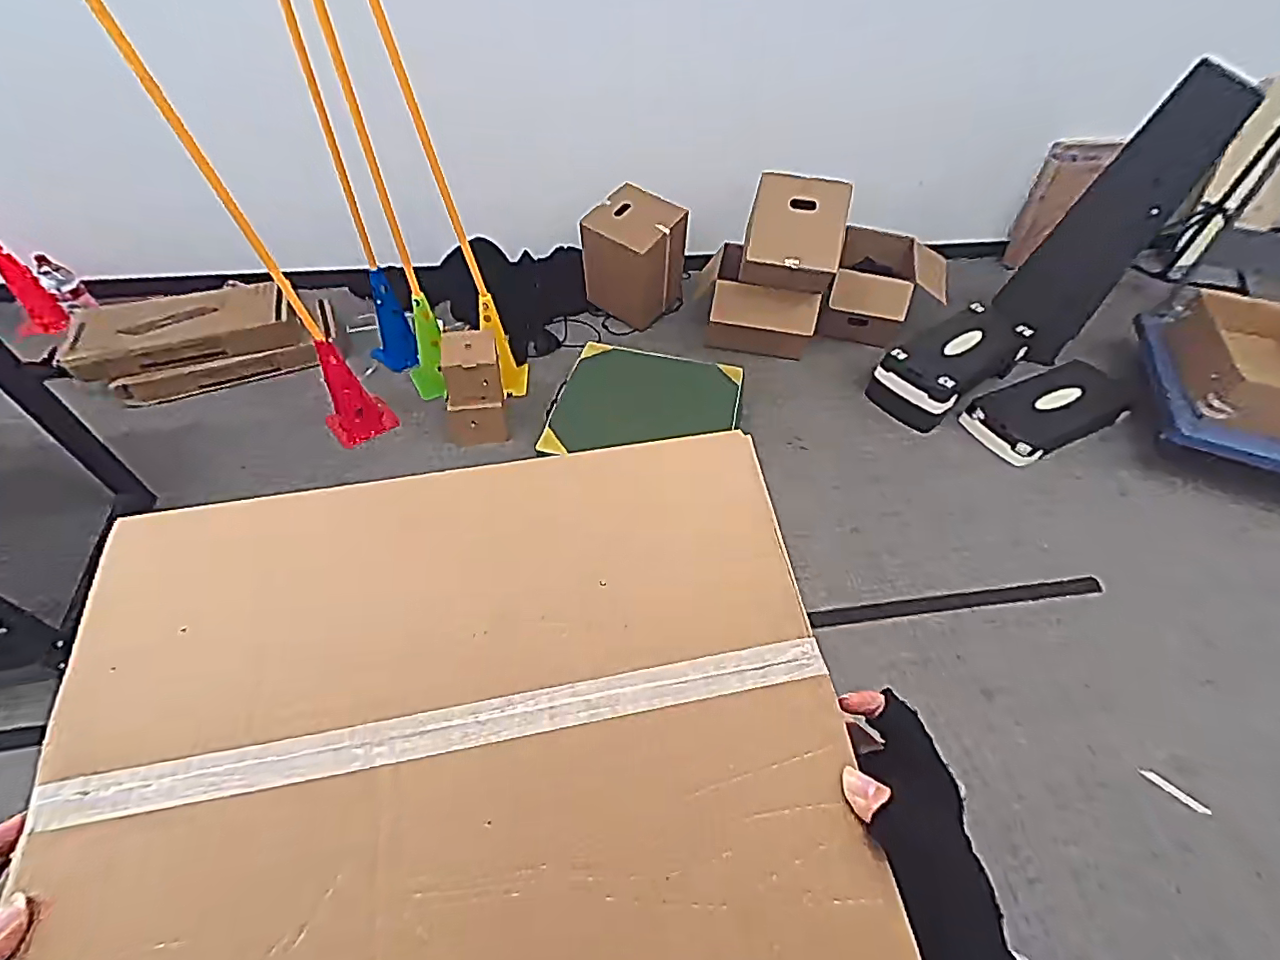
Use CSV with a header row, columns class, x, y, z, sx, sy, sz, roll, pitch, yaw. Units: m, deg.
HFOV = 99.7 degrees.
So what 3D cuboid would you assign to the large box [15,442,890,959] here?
class,x,y,z,sx,sy,sz,roll,pitch,yaw
large box,-0.103,0.203,0.431,0.408,0.320,0.320,-8,62,-6
